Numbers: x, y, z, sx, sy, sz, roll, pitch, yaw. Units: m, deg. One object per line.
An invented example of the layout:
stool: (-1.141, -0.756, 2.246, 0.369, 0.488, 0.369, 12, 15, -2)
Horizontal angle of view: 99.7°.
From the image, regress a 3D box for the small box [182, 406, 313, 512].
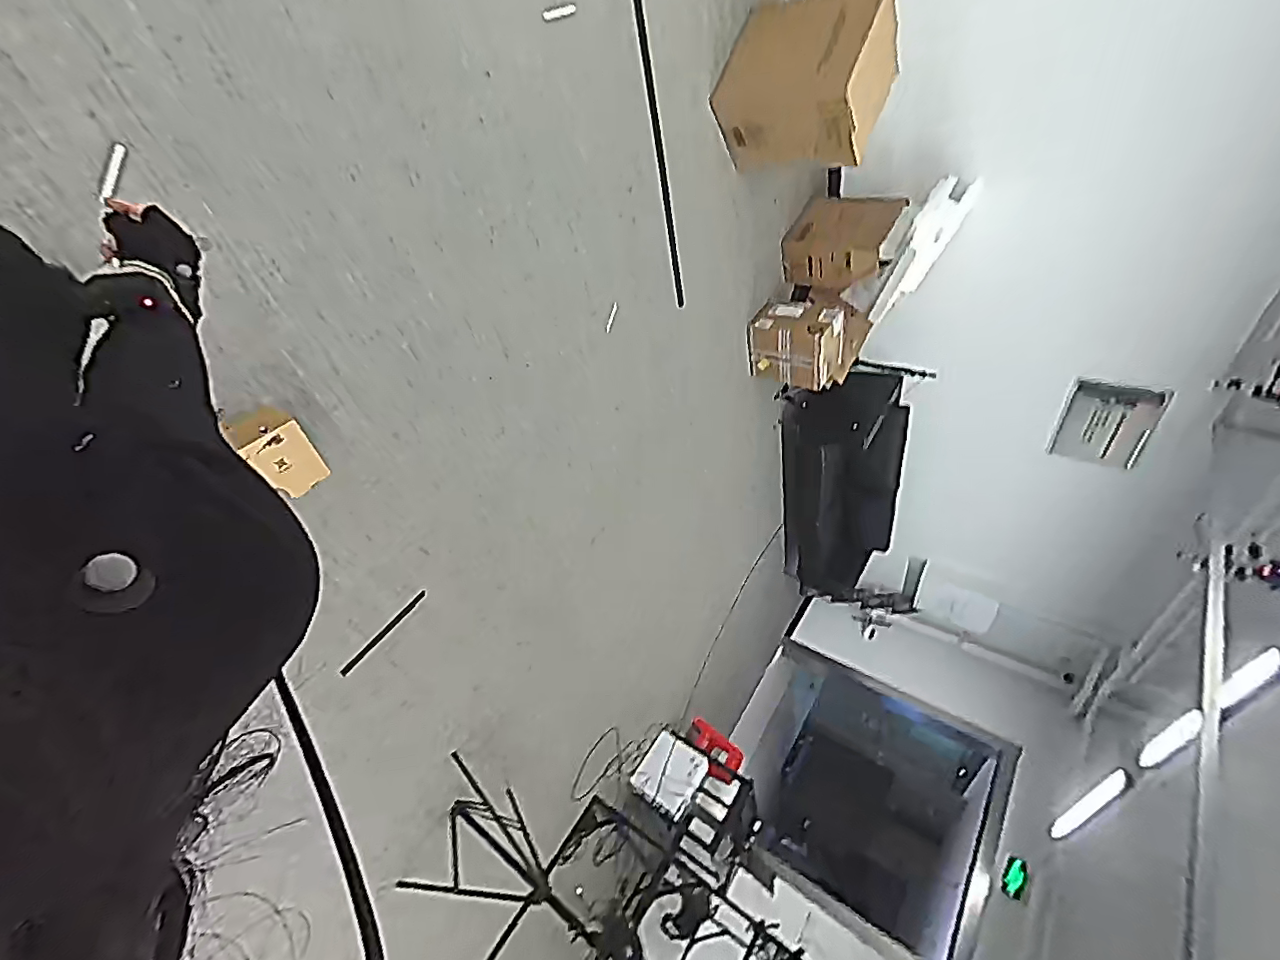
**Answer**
small box: (-0.957, -0.056, 1.324, 0.168, 0.176, 0.179, -46, 142, -36)
